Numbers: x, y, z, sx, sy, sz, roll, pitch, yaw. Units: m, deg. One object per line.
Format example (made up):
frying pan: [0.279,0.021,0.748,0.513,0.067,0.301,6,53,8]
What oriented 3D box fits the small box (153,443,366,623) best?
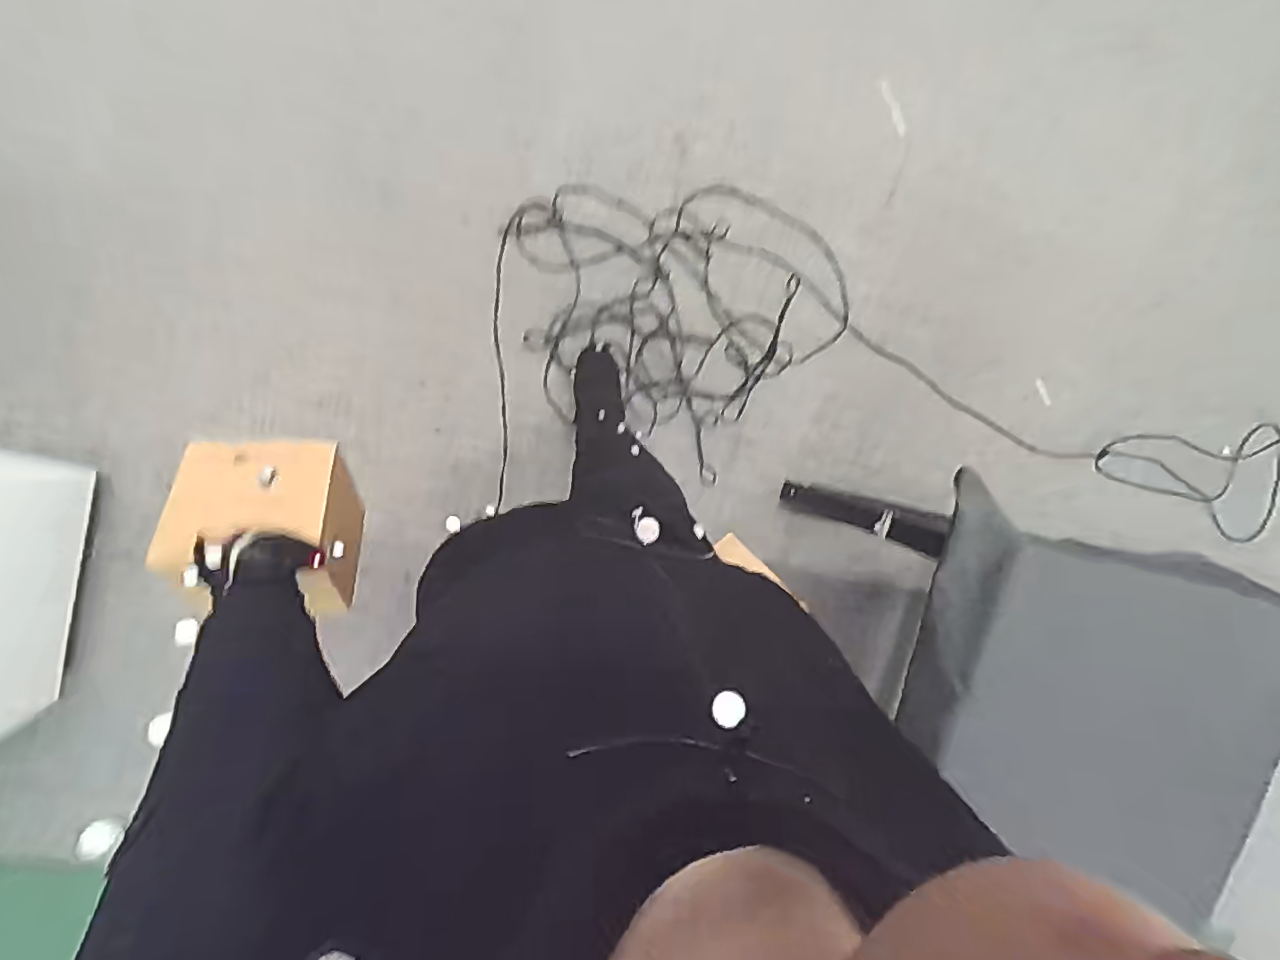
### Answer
small box: [-0.462,0.070,0.694,0.168,0.179,0.176,-2,58,-15]
